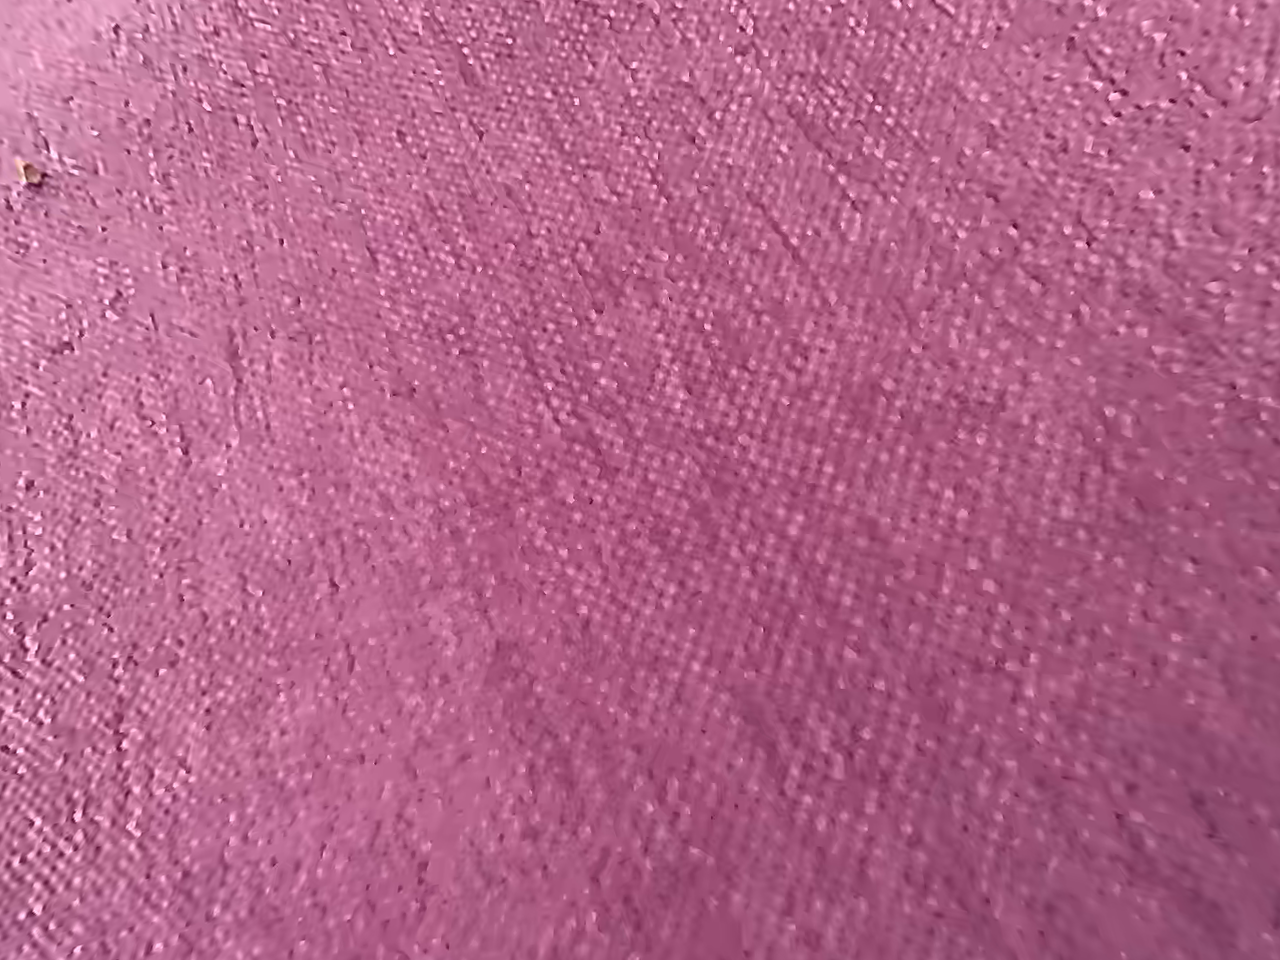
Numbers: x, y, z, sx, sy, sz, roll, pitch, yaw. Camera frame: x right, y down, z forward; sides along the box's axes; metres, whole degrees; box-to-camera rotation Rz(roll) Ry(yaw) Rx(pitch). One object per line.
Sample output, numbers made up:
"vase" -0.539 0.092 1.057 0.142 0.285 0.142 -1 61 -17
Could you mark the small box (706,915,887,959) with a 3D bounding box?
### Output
"small box" 0.154 0.538 0.497 0.179 0.168 0.176 -9 74 7
